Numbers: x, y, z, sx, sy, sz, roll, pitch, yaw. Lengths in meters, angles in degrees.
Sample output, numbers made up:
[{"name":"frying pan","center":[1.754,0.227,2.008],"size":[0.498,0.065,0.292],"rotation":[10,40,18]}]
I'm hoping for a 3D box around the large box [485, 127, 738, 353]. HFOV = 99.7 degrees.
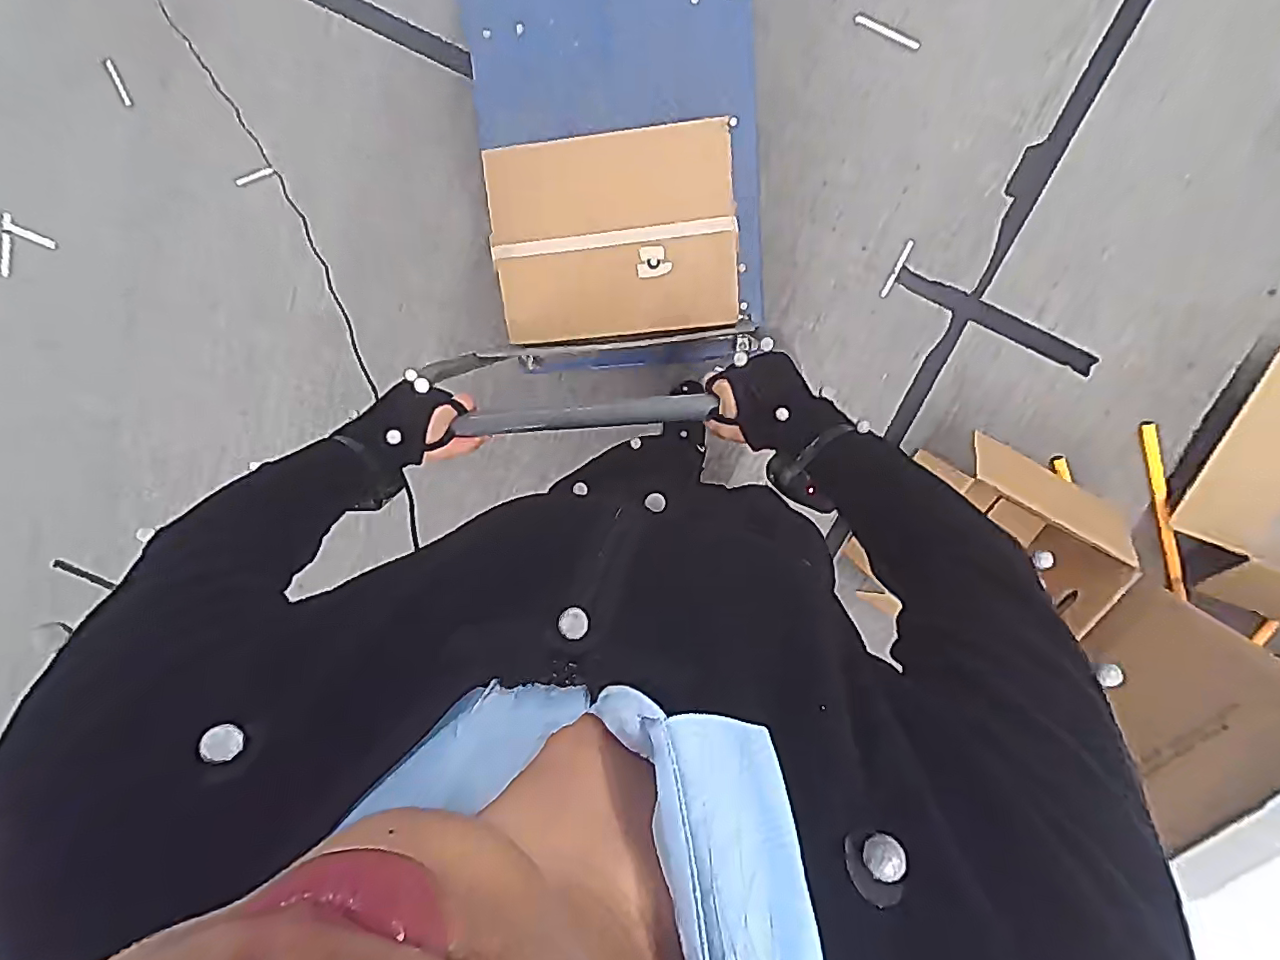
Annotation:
[{"name":"large box","center":[-0.034,-0.425,1.044],"size":[0.408,0.320,0.320],"rotation":[-4,105,6]}]
